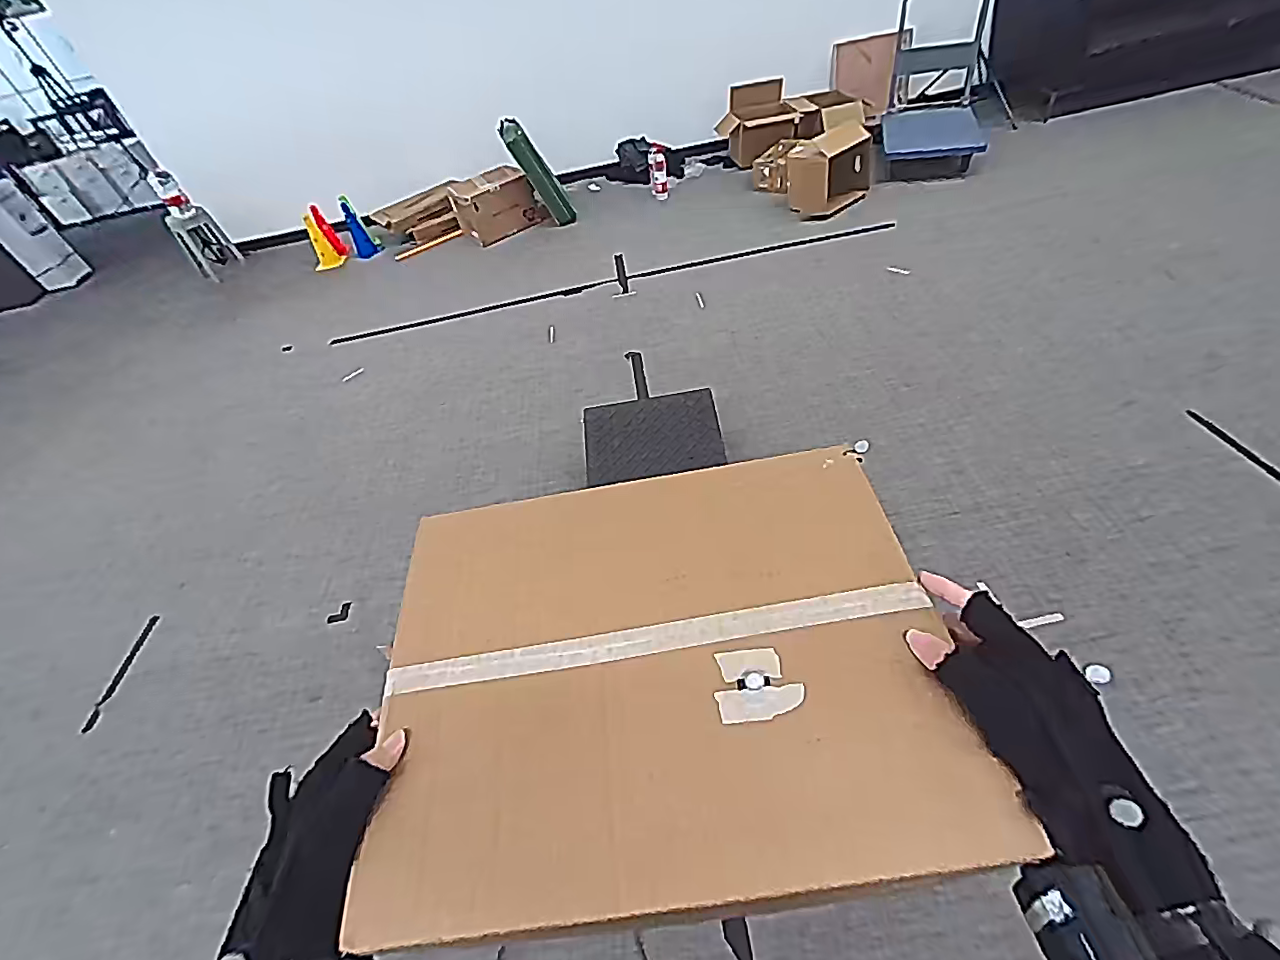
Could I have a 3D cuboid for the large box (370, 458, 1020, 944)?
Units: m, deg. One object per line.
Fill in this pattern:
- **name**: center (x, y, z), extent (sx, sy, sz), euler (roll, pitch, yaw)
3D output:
- **large box**: center (0.032, 0.223, 0.528), extent (0.408, 0.320, 0.320), euler (-10, 50, 2)
